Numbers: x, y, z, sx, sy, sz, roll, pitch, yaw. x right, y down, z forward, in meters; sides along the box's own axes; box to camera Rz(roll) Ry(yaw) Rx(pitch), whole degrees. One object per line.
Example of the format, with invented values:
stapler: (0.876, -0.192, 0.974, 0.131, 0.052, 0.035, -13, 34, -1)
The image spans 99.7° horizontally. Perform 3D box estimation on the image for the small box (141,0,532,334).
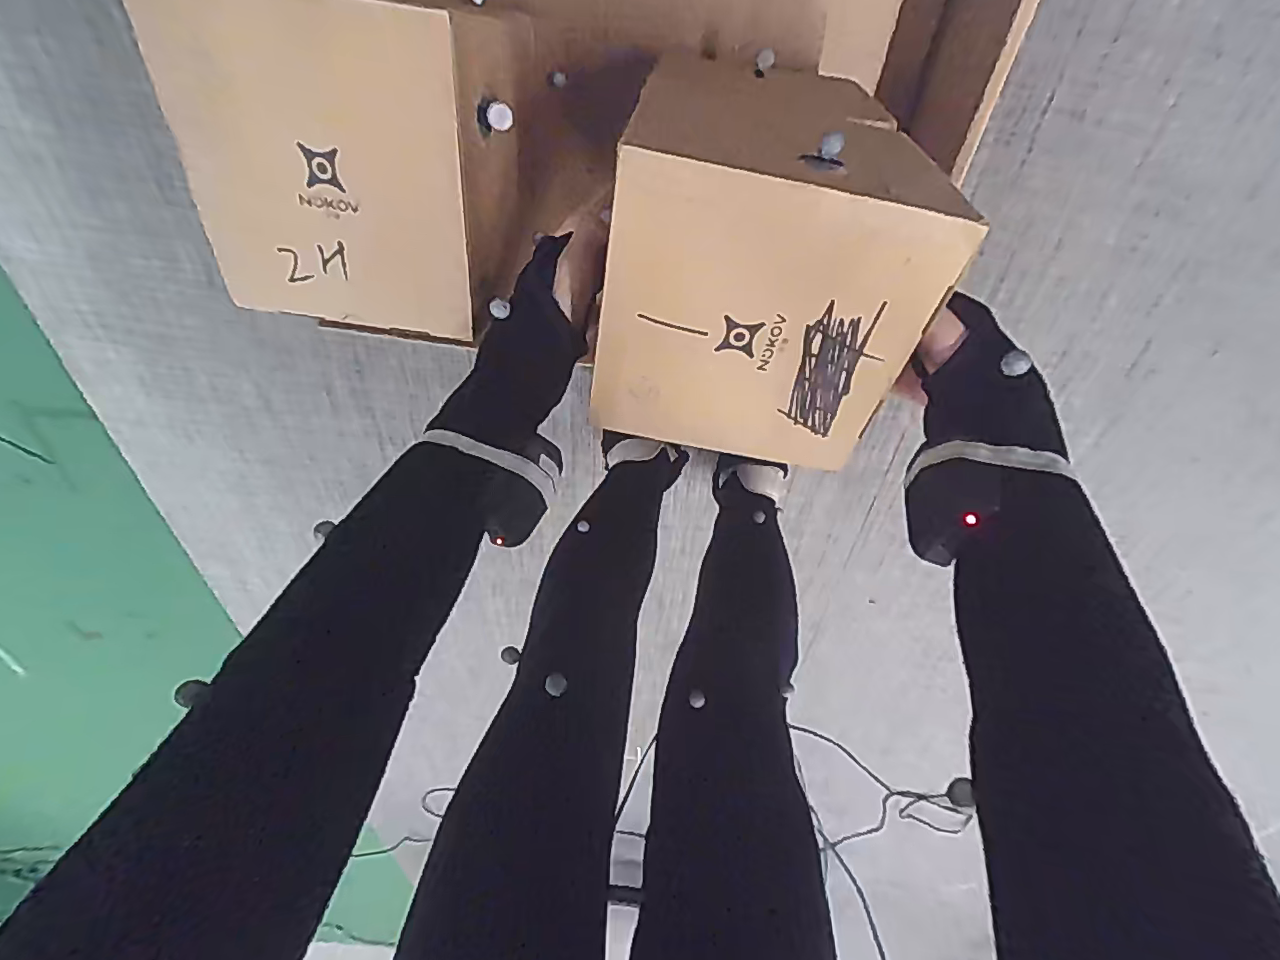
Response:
small box: (-0.178, -0.231, 0.385, 0.168, 0.176, 0.179, 9, 130, 0)

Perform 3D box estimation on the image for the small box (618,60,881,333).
small box: (0.084, -0.258, 0.486, 0.179, 0.176, 0.168, 9, 135, 2)
